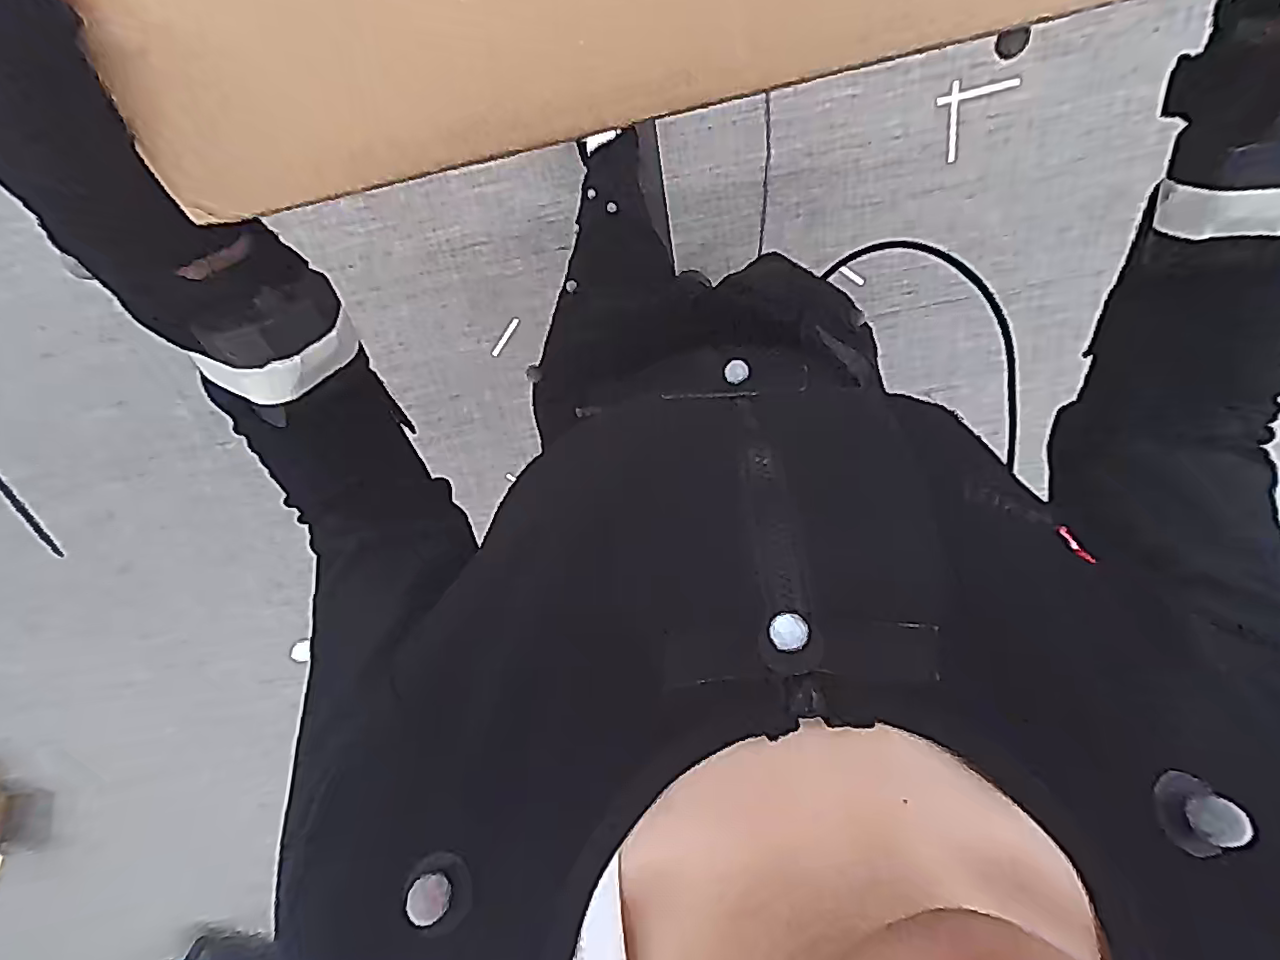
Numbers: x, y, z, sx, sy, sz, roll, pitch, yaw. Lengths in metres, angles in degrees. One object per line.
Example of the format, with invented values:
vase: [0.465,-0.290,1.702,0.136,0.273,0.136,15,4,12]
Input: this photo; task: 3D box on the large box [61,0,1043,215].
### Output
large box: [-0.015,-0.353,0.211,0.408,0.320,0.320,-10,129,6]
